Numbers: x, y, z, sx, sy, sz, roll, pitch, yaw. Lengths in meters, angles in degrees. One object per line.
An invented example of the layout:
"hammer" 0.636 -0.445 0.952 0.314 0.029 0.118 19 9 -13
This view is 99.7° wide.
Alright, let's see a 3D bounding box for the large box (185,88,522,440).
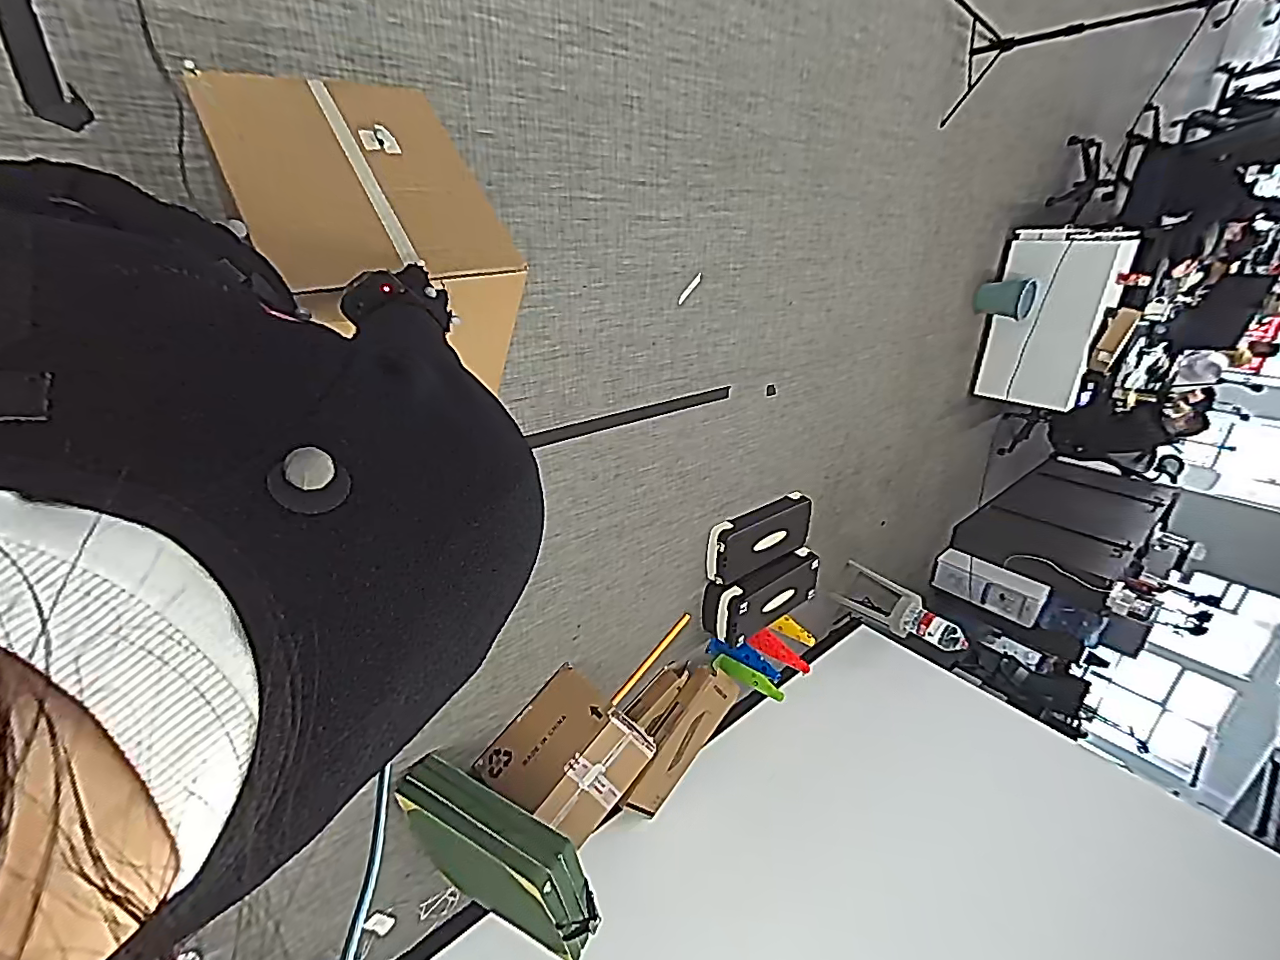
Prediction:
"large box" -0.440 -0.338 0.870 0.320 0.408 0.320 -21 161 -34
